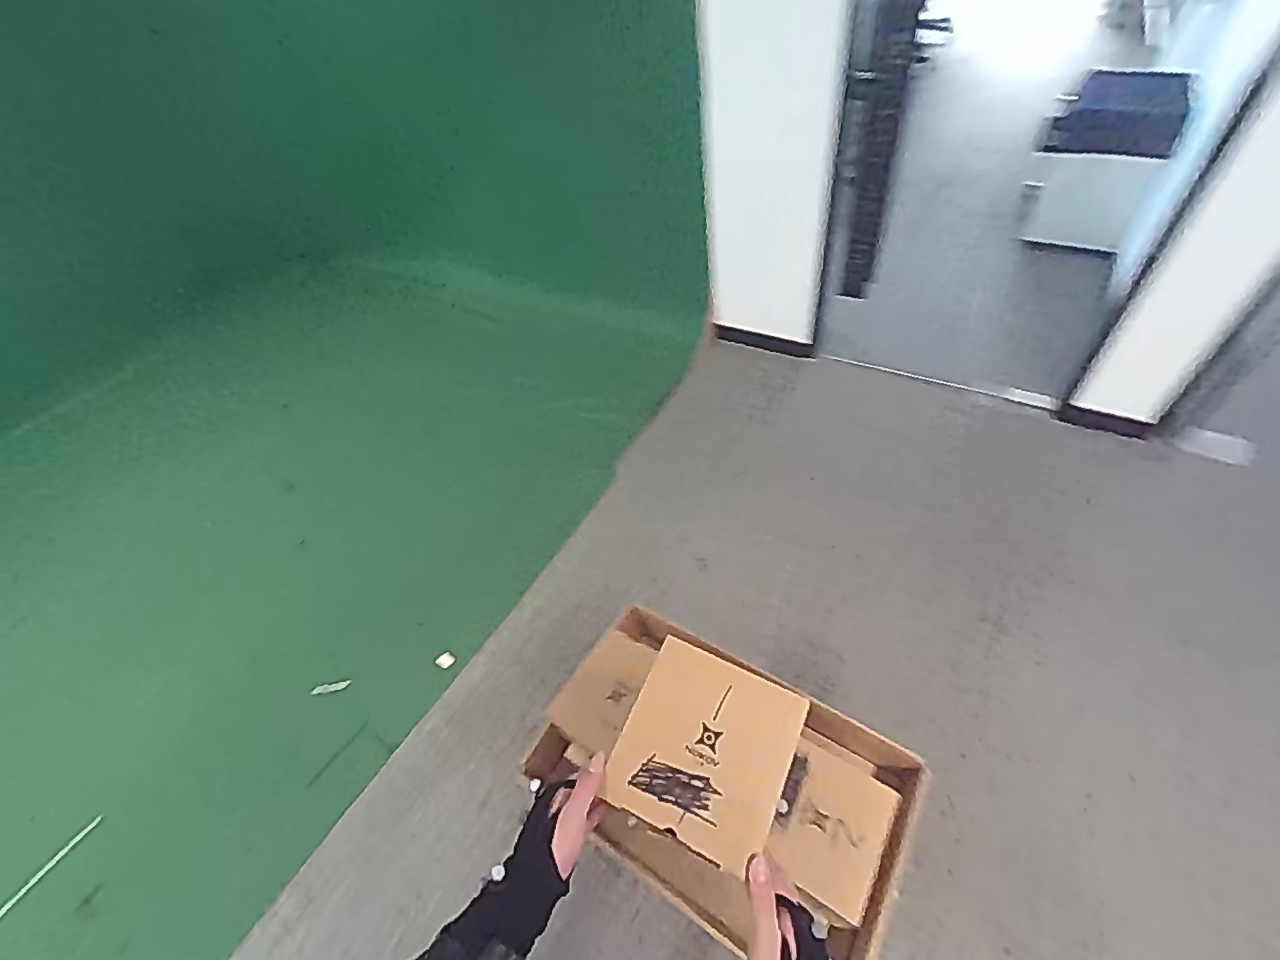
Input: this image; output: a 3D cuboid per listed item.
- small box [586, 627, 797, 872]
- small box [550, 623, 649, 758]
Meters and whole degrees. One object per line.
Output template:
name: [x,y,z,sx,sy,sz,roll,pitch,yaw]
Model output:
small box: [0.062,0.301,0.611,0.168,0.176,0.179,20,61,17]
small box: [-0.020,0.383,0.911,0.168,0.176,0.179,25,58,29]
